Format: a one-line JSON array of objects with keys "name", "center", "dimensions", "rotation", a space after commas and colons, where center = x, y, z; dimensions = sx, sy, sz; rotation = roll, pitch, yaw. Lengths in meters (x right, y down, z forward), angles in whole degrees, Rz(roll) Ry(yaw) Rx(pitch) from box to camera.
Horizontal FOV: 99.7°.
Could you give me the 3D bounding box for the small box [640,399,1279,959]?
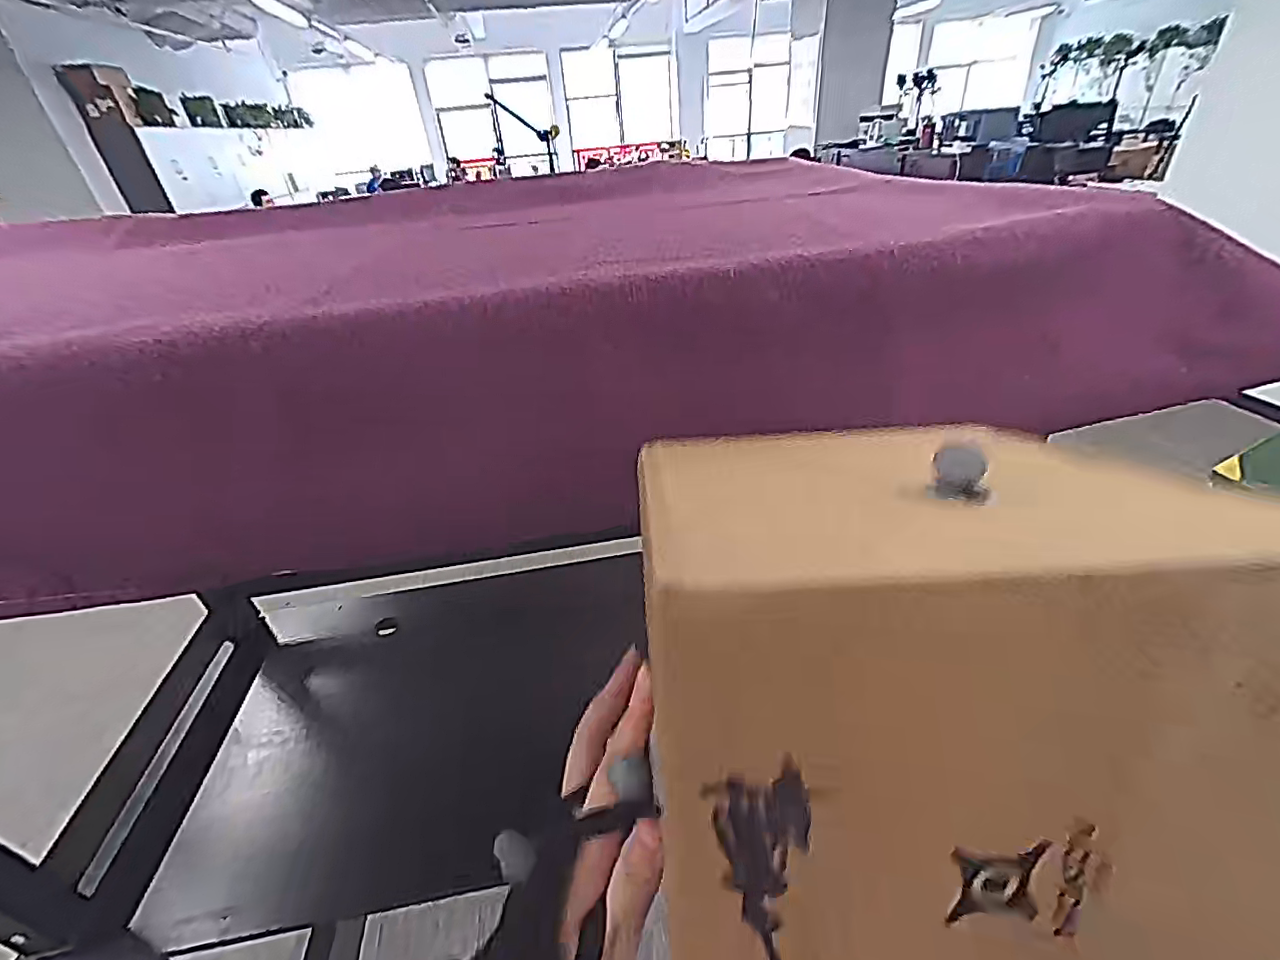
[{"name": "small box", "center": [0.094, 0.063, 0.203], "dimensions": [0.179, 0.168, 0.176], "rotation": [-4, 14, -1]}]
